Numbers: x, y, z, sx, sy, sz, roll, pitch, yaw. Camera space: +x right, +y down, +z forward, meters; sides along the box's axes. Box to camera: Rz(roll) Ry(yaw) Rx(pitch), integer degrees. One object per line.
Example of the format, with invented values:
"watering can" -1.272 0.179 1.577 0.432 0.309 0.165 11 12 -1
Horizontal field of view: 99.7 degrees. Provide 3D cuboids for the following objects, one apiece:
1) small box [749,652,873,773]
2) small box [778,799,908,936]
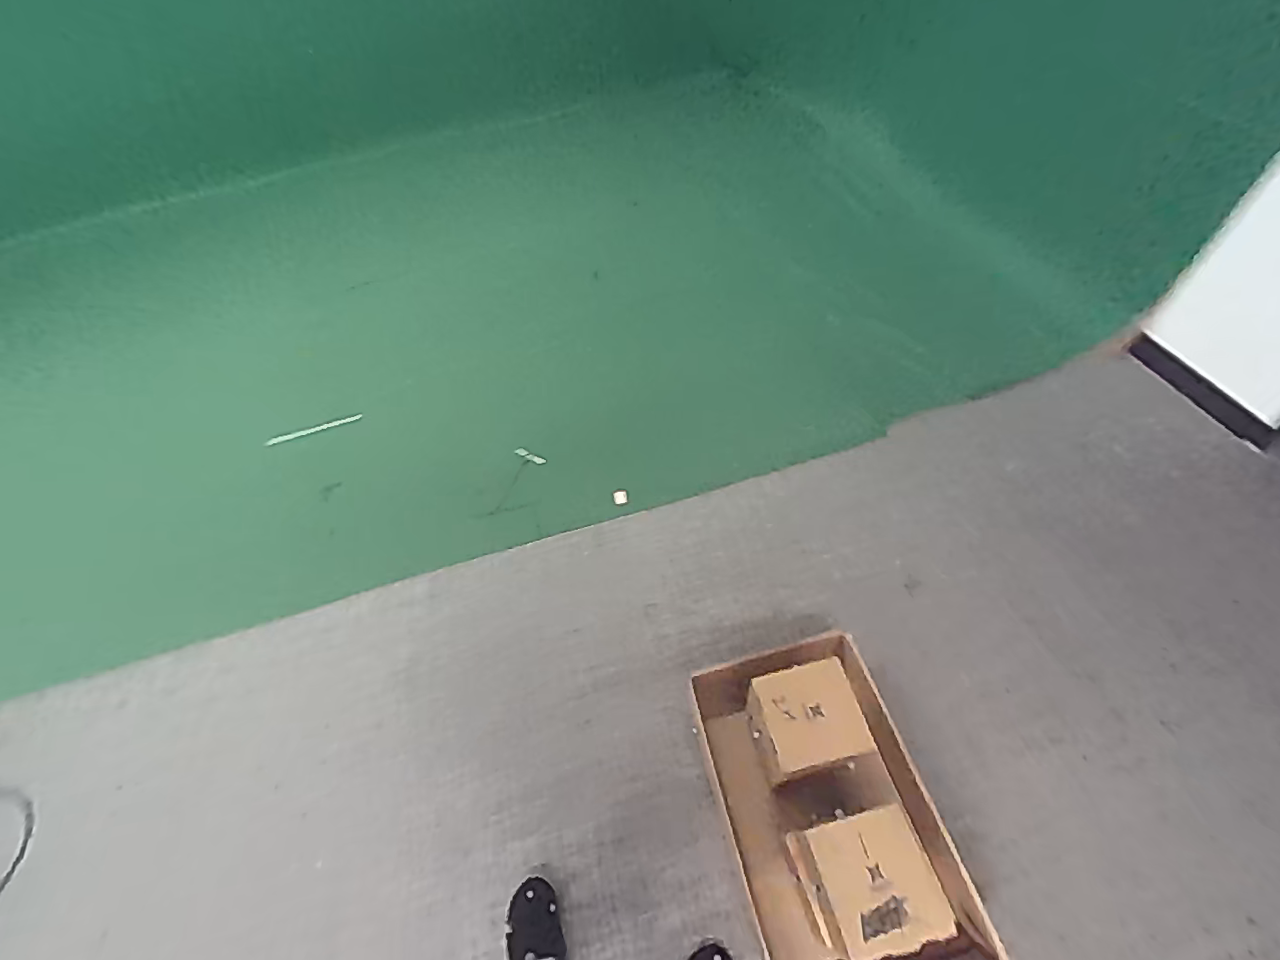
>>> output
"small box" 0.321 0.457 1.057 0.179 0.176 0.168 -13 54 0
"small box" 0.379 0.750 1.050 0.168 0.176 0.179 -17 53 -2
